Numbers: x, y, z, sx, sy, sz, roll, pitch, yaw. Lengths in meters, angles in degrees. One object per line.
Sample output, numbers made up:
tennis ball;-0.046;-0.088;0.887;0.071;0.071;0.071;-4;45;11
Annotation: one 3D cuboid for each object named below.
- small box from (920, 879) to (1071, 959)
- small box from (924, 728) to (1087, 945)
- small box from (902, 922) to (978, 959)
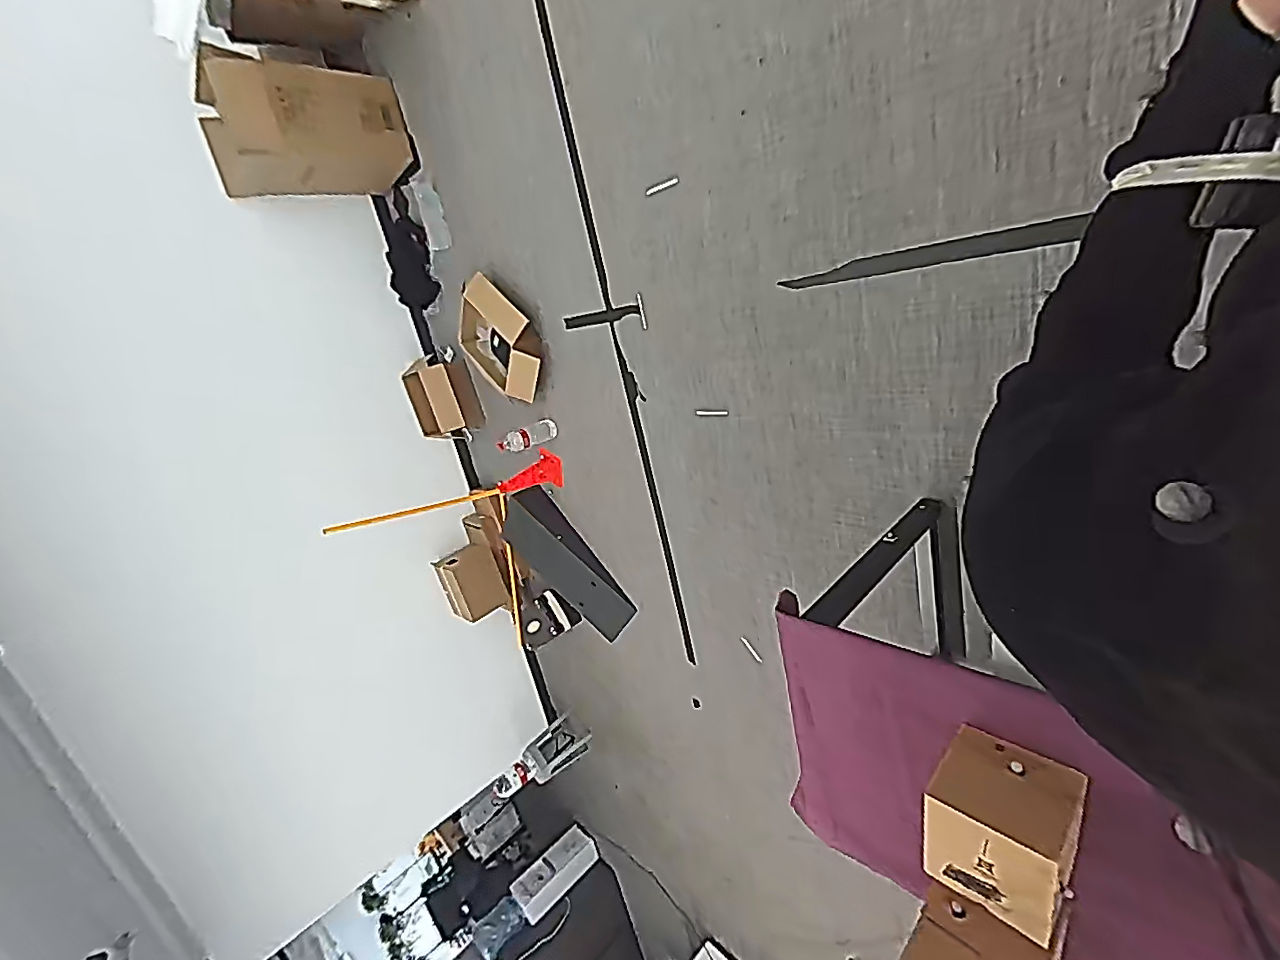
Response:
small box;0.599;0.785;0.922;0.179;0.176;0.168;12;120;46
small box;0.552;0.524;0.820;0.168;0.176;0.179;12;121;46
small box;0.482;0.845;0.823;0.179;0.176;0.168;14;120;45
